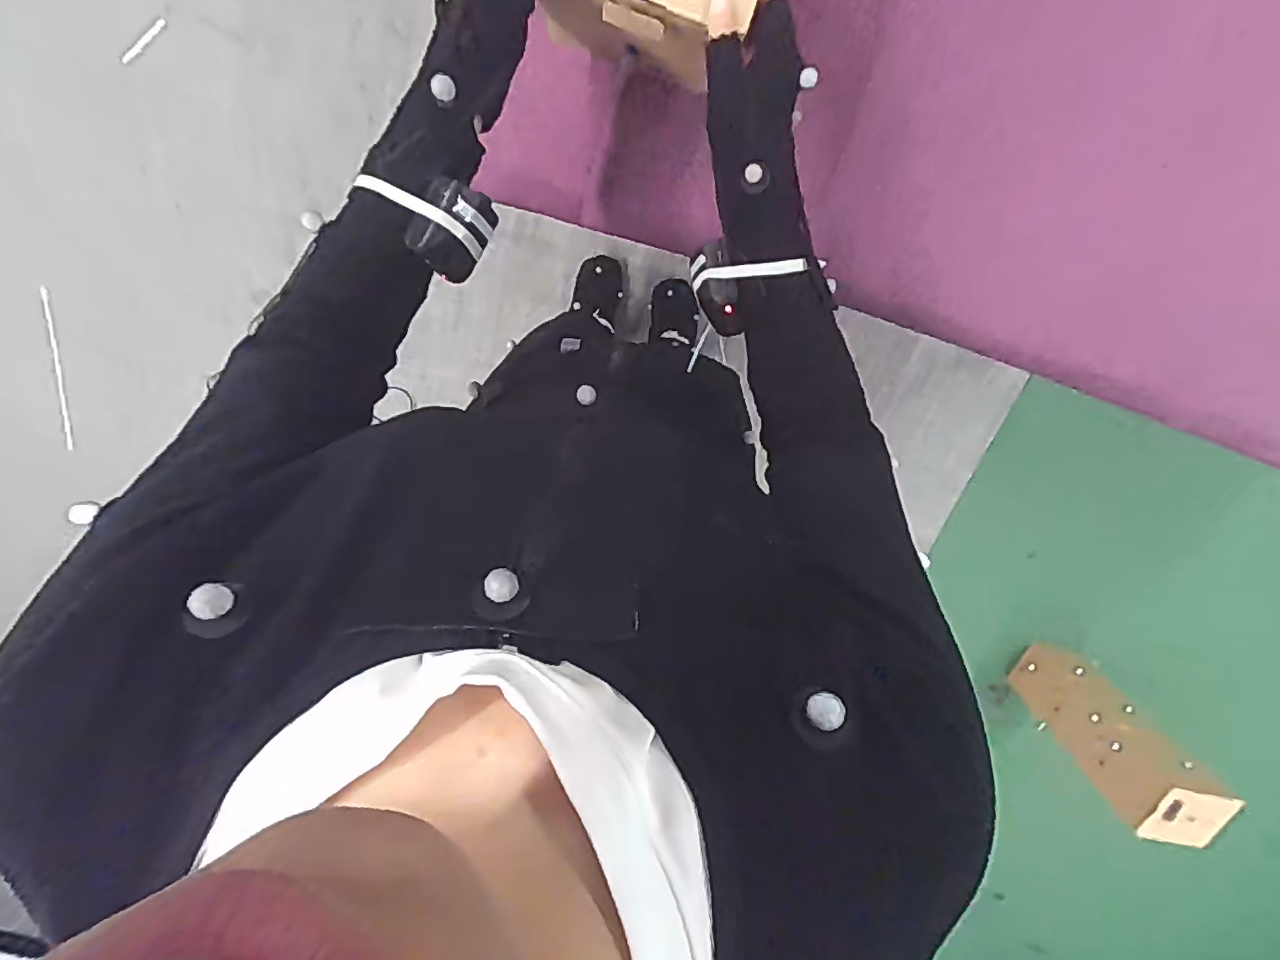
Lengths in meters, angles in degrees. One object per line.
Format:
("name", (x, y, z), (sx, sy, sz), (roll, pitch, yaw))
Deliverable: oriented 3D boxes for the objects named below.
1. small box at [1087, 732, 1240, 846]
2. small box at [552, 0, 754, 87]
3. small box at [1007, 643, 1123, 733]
("small box", (1.260, 0.747, 1.321), (0.179, 0.176, 0.168), (11, 113, -2))
("small box", (0.021, -0.455, 0.429), (0.168, 0.176, 0.179), (15, 114, -8))
("small box", (1.265, 0.619, 1.624), (0.179, 0.176, 0.168), (17, 112, -3))
